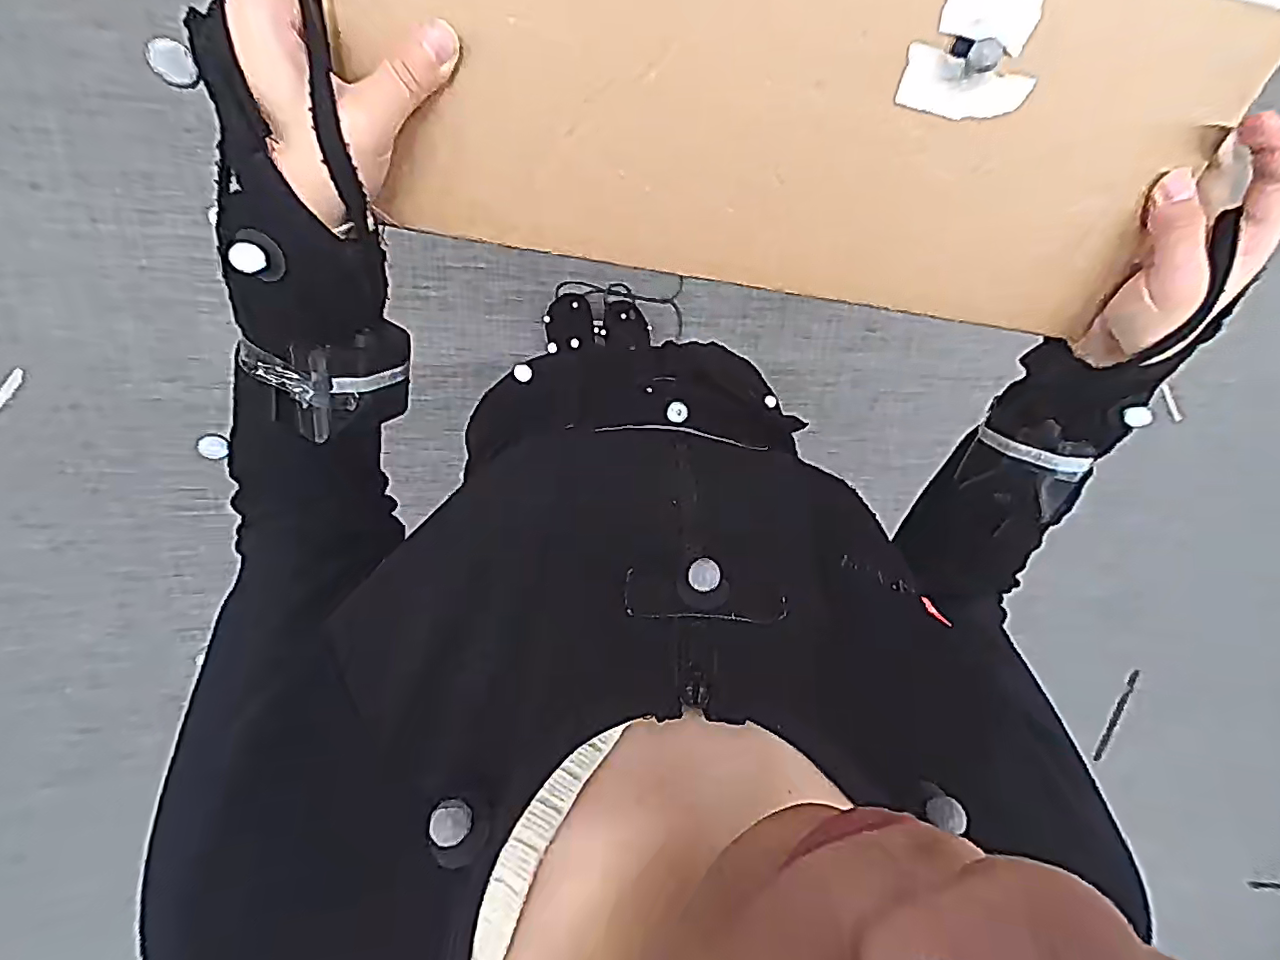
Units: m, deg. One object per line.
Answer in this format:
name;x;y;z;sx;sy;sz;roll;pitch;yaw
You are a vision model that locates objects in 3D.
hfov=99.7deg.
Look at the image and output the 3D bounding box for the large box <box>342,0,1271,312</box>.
large box;0.074;-0.327;0.328;0.408;0.320;0.320;6;127;-8
